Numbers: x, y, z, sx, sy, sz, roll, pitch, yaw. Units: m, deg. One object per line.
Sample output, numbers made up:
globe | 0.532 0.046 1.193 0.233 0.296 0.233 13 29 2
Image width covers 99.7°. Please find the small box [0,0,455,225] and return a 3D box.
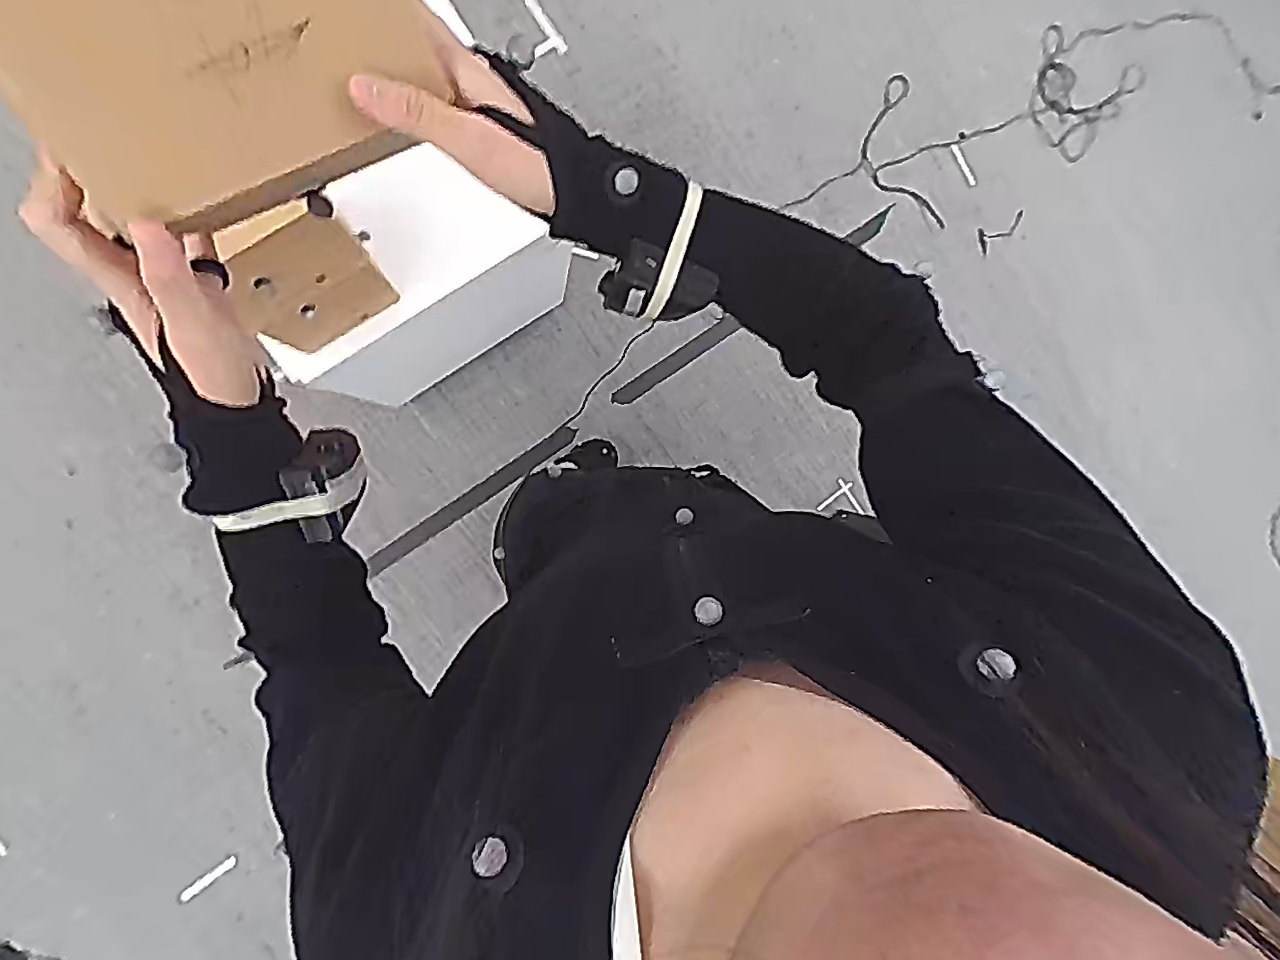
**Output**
small box | -0.219 -0.247 0.271 0.168 0.176 0.179 -30 123 -9

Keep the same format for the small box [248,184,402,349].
small box | -0.454 -0.301 0.722 0.168 0.176 0.179 -35 98 -7

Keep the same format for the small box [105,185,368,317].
small box | -0.422 -0.290 0.562 0.168 0.176 0.179 -36 99 -7
